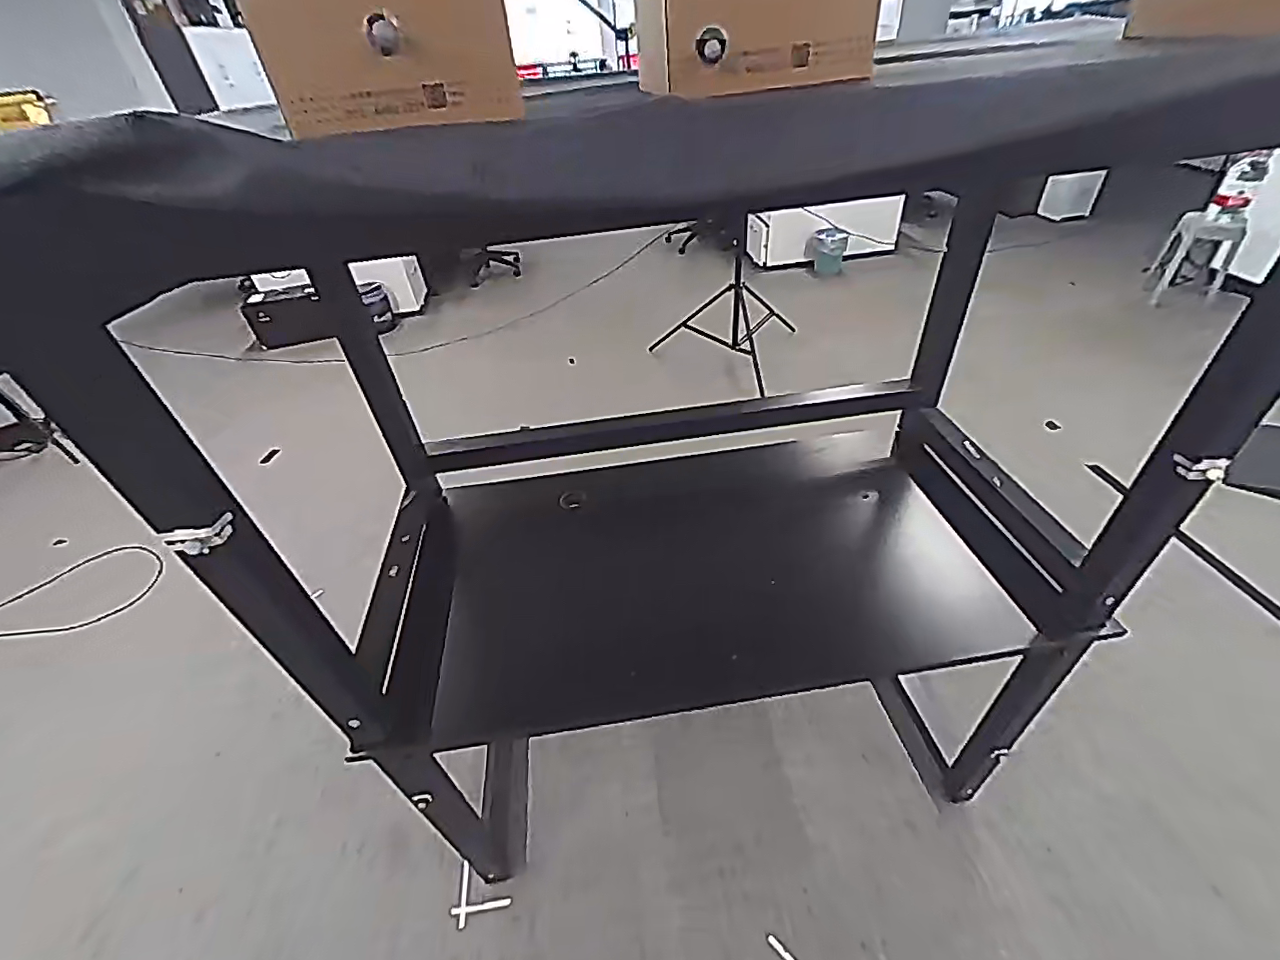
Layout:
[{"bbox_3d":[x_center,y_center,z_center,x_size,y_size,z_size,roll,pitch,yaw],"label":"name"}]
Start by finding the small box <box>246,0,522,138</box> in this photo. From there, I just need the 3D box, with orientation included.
[{"bbox_3d":[-0.194,-0.369,0.409,0.168,0.176,0.179,-14,39,-9],"label":"small box"}]

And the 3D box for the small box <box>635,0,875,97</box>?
[{"bbox_3d":[0.085,-0.424,0.441,0.168,0.176,0.179,-9,38,-3],"label":"small box"}]
